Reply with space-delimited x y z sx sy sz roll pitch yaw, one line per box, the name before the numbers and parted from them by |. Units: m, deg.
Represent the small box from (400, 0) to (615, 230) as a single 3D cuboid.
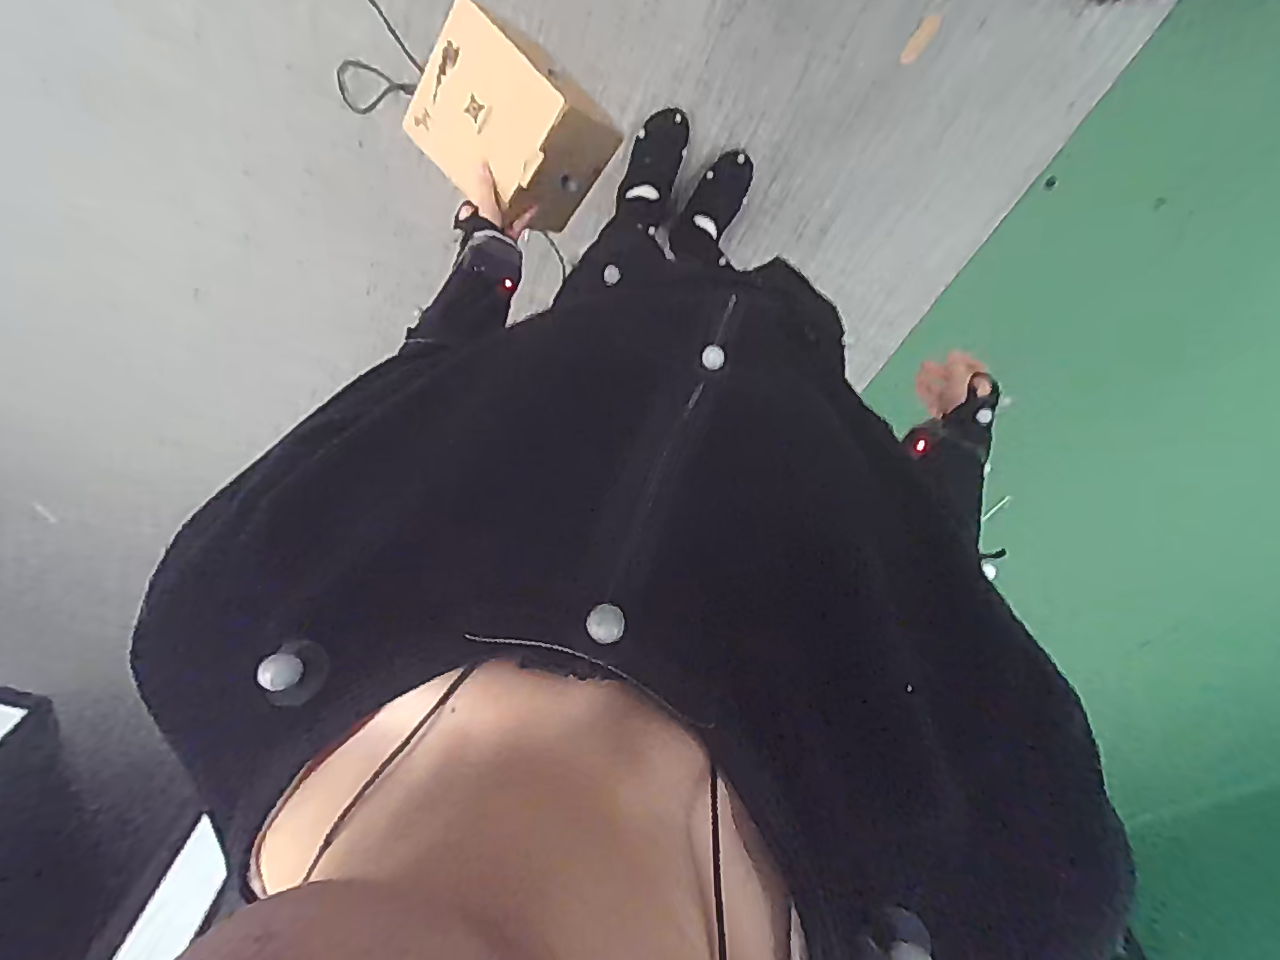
small box | -0.161 -0.451 0.703 0.179 0.176 0.168 46 118 0
